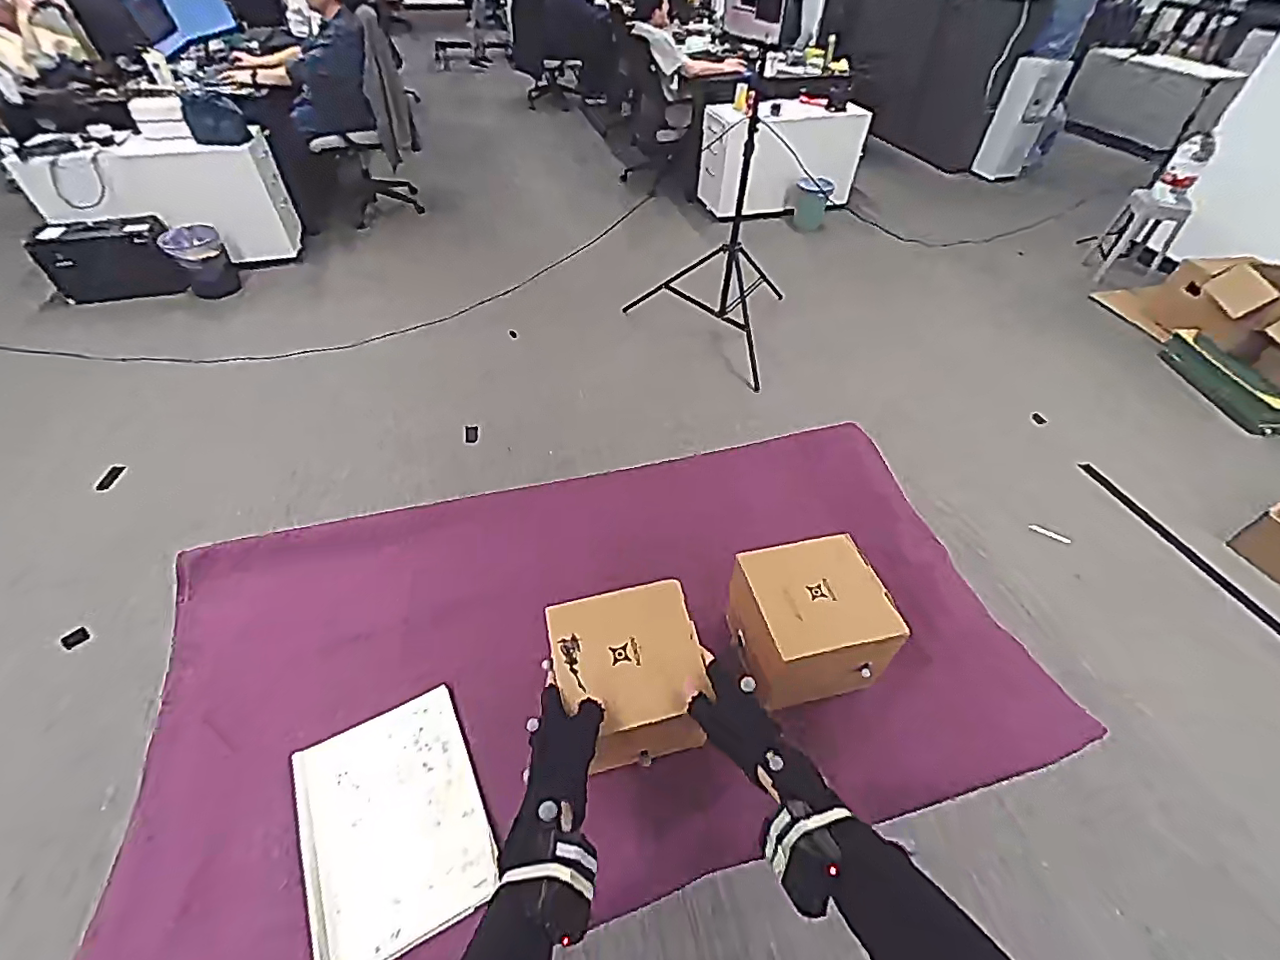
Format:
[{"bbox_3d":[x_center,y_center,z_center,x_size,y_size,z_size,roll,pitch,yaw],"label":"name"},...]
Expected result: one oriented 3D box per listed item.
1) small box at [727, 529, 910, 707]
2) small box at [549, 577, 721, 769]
[{"bbox_3d":[0.238,0.197,0.772,0.179,0.176,0.168,-10,46,-9],"label":"small box"},{"bbox_3d":[-0.014,0.248,0.690,0.179,0.176,0.168,-10,52,-9],"label":"small box"}]
